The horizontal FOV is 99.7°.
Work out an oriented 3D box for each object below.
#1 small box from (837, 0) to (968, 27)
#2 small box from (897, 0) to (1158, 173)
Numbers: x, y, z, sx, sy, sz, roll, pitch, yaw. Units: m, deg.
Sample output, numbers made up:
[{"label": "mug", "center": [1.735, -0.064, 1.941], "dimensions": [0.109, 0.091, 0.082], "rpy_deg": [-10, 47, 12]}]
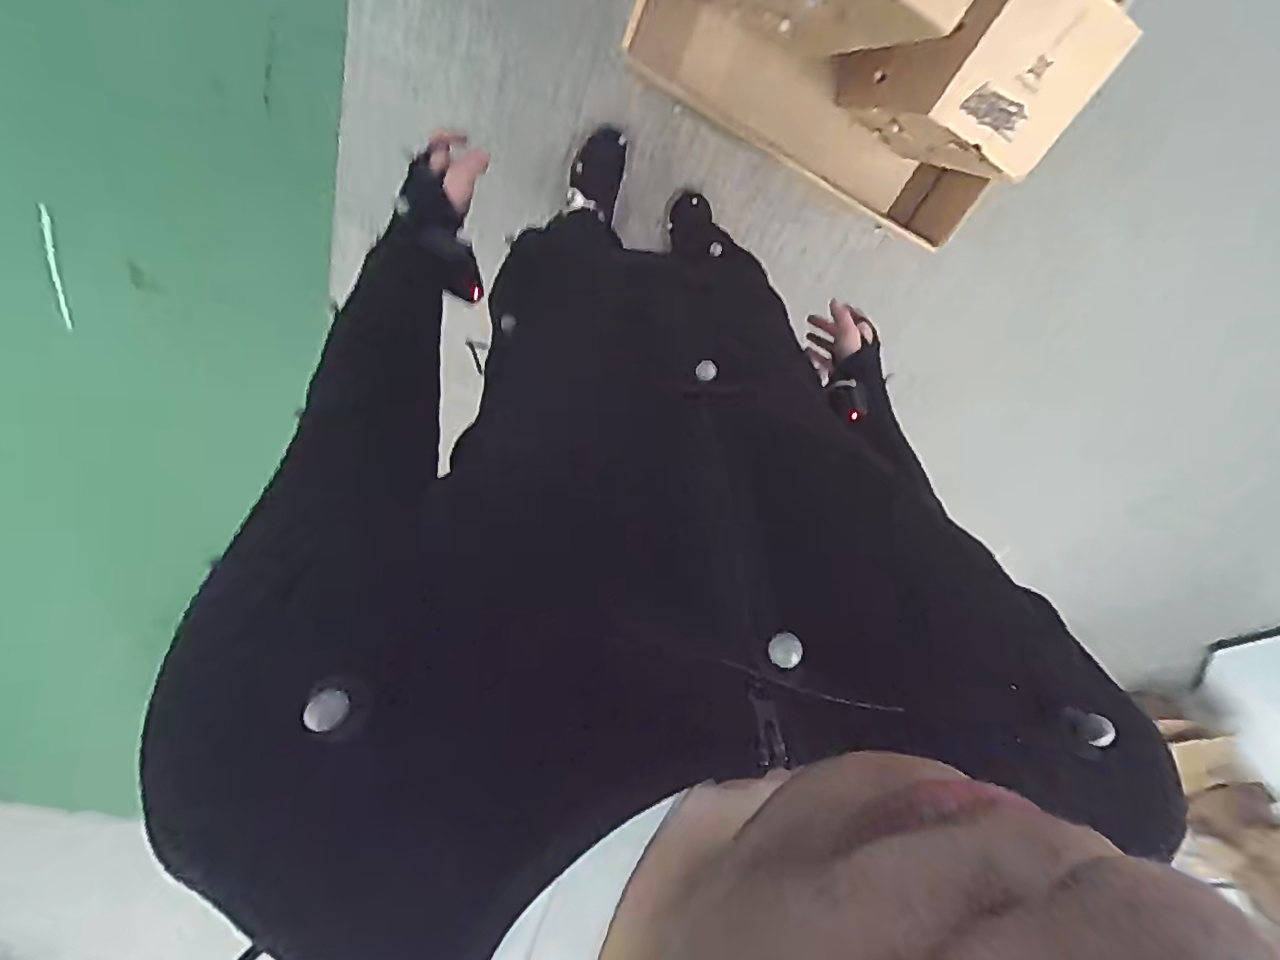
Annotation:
[{"label": "small box", "center": [0.232, -0.530, 0.455], "dimensions": [0.168, 0.176, 0.179], "rpy_deg": [22, 123, -16]}, {"label": "small box", "center": [0.455, -0.523, 0.675], "dimensions": [0.168, 0.176, 0.179], "rpy_deg": [22, 122, -18]}]
